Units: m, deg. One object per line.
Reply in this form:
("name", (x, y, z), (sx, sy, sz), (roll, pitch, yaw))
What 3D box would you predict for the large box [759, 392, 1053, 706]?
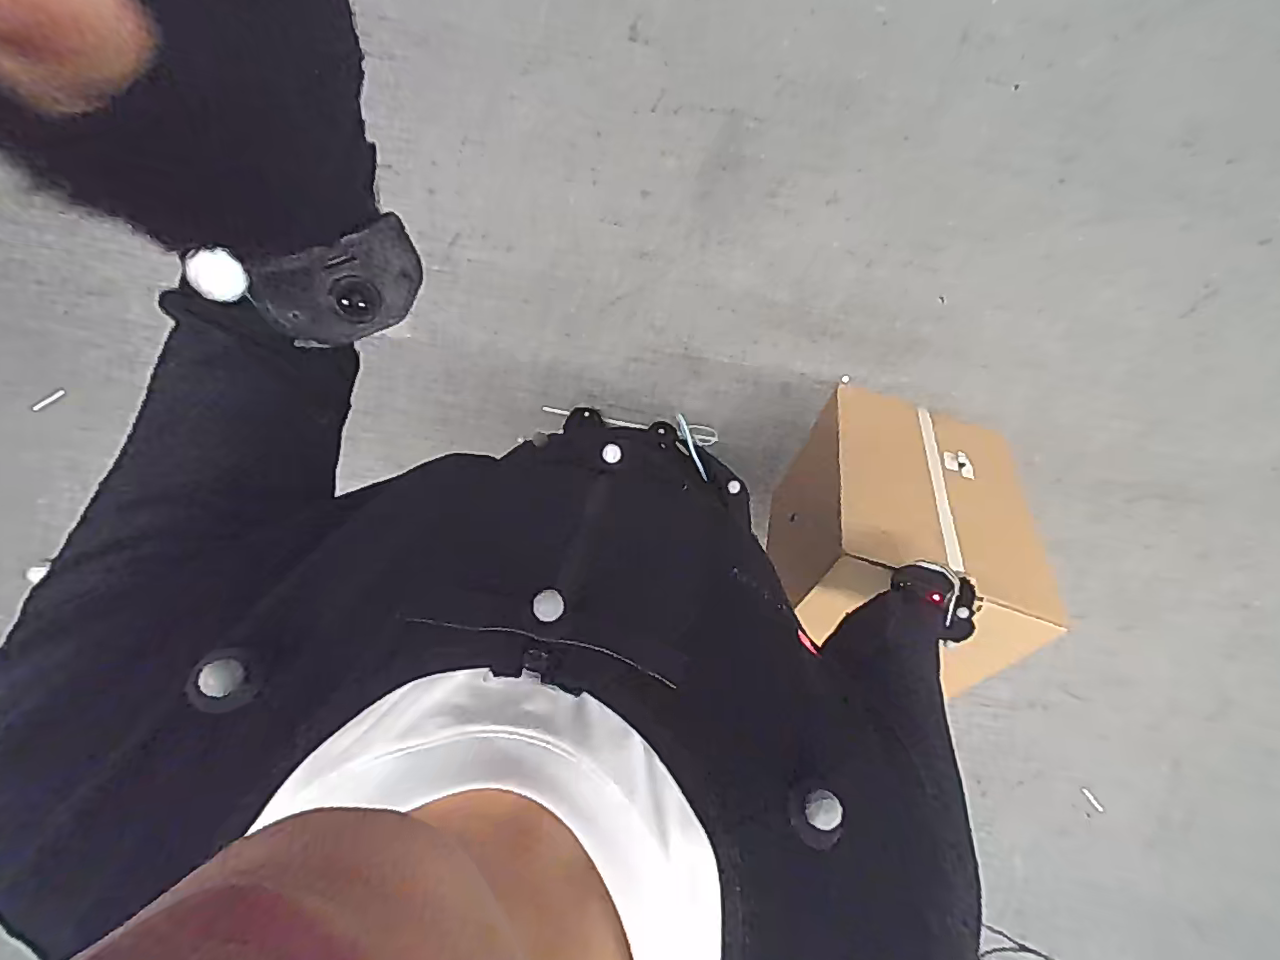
("large box", (0.420, 0.116, 0.965), (0.320, 0.408, 0.320), (19, 135, 0))
